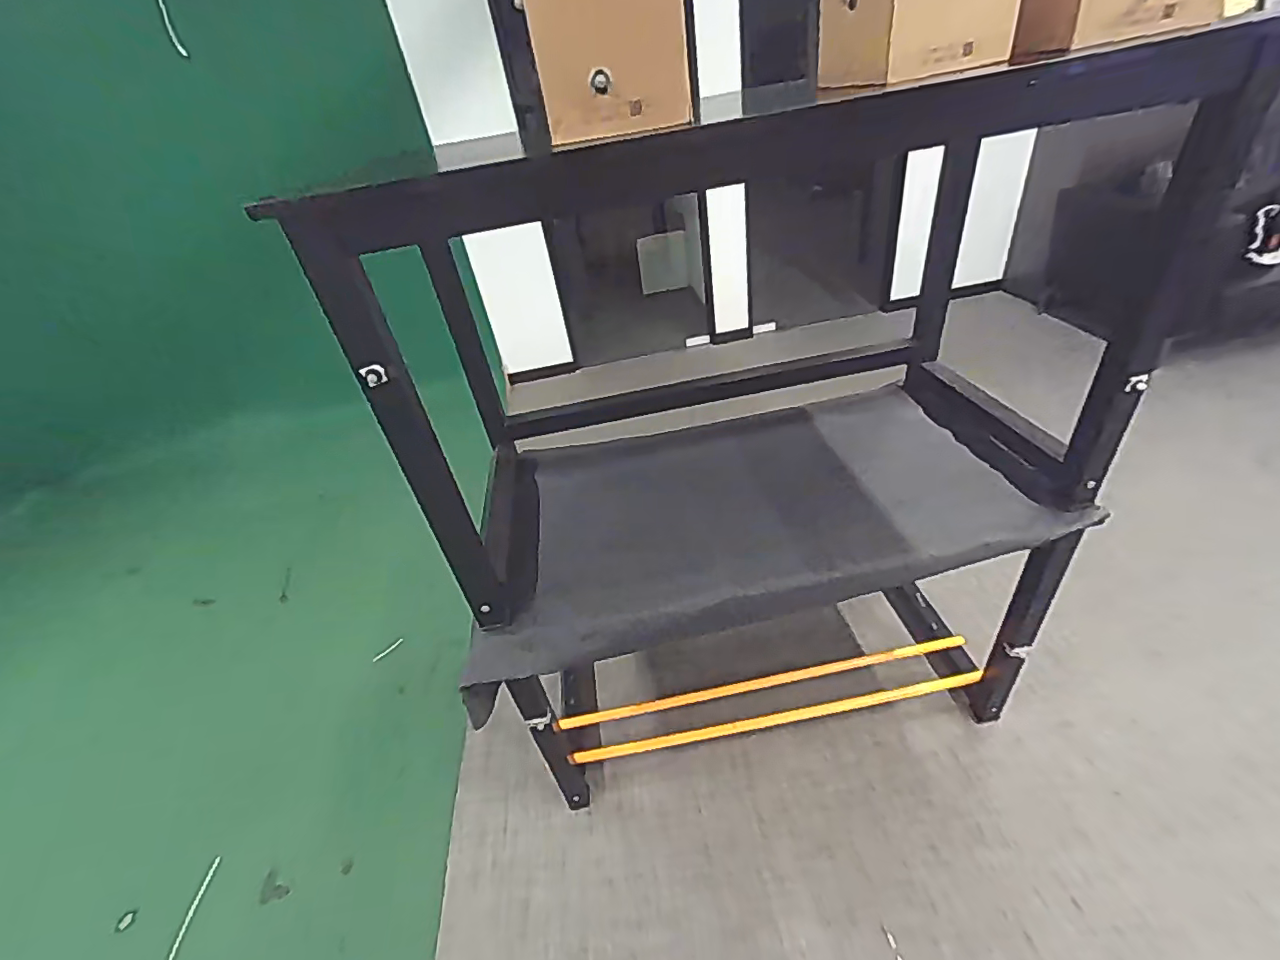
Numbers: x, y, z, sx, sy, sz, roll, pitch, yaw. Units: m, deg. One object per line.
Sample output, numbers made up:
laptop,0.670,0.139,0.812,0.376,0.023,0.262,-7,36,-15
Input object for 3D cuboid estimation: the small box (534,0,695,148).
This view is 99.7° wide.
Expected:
small box,-0.025,-0.510,0.650,0.168,0.176,0.179,-6,36,5
